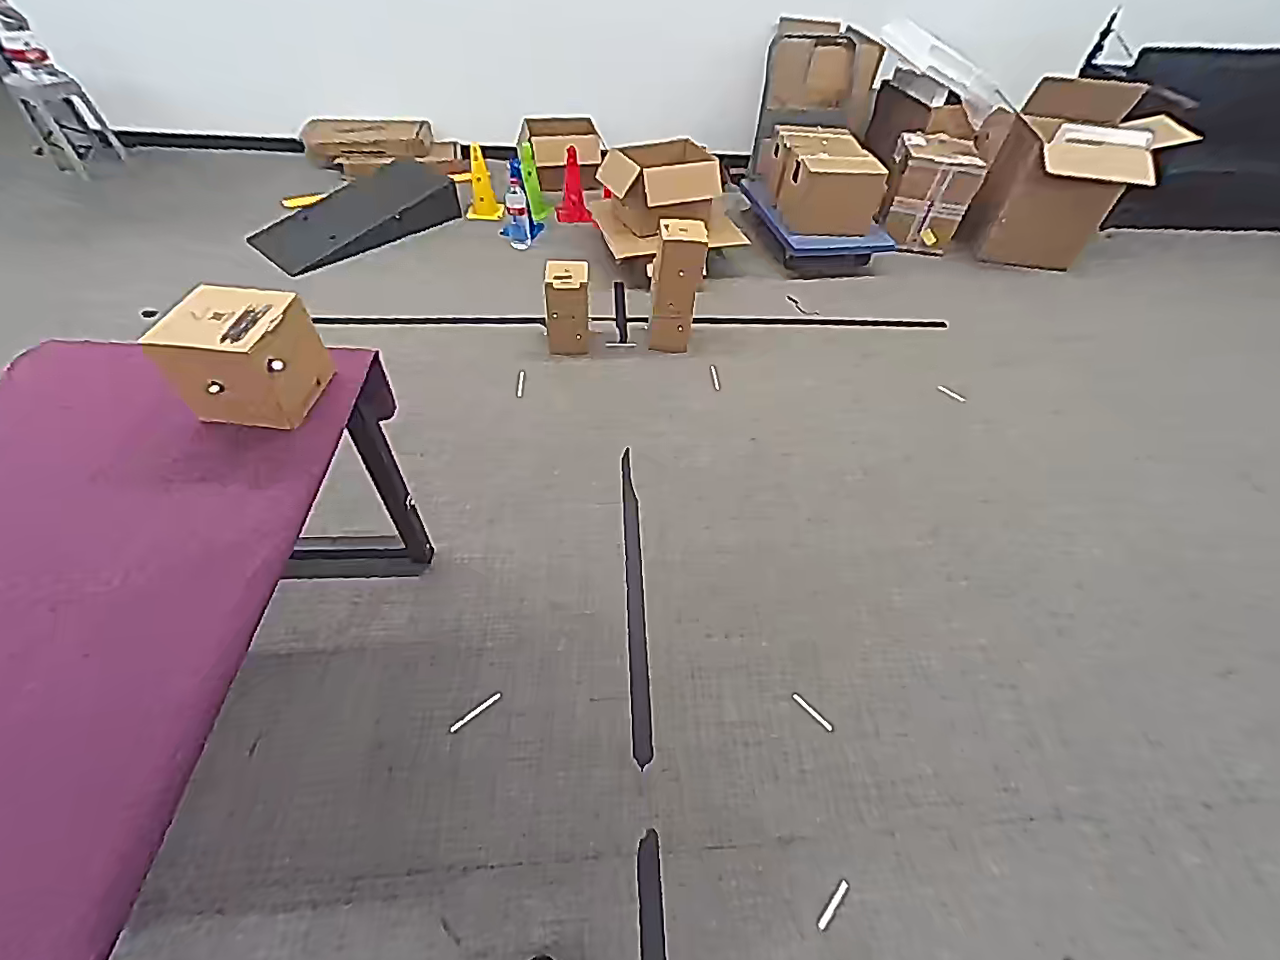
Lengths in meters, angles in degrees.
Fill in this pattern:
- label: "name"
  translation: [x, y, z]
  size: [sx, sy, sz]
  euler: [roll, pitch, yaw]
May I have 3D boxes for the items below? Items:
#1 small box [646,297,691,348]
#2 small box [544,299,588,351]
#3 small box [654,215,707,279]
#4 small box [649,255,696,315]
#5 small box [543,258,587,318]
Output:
- label: "small box"
  translation: [0.120, -0.692, 2.351]
  size: [0.179, 0.176, 0.168]
  euler: [3, 49, -3]
- label: "small box"
  translation: [-0.313, -0.662, 2.293]
  size: [0.179, 0.176, 0.168]
  euler: [-4, 49, -6]
- label: "small box"
  translation: [0.153, -0.904, 2.106]
  size: [0.179, 0.176, 0.168]
  euler: [2, 51, -5]
- label: "small box"
  translation: [0.130, -0.806, 2.236]
  size: [0.168, 0.176, 0.179]
  euler: [0, 51, -6]
- label: "small box"
  translation: [-0.297, -0.768, 2.168]
  size: [0.168, 0.176, 0.179]
  euler: [-1, 49, -5]
